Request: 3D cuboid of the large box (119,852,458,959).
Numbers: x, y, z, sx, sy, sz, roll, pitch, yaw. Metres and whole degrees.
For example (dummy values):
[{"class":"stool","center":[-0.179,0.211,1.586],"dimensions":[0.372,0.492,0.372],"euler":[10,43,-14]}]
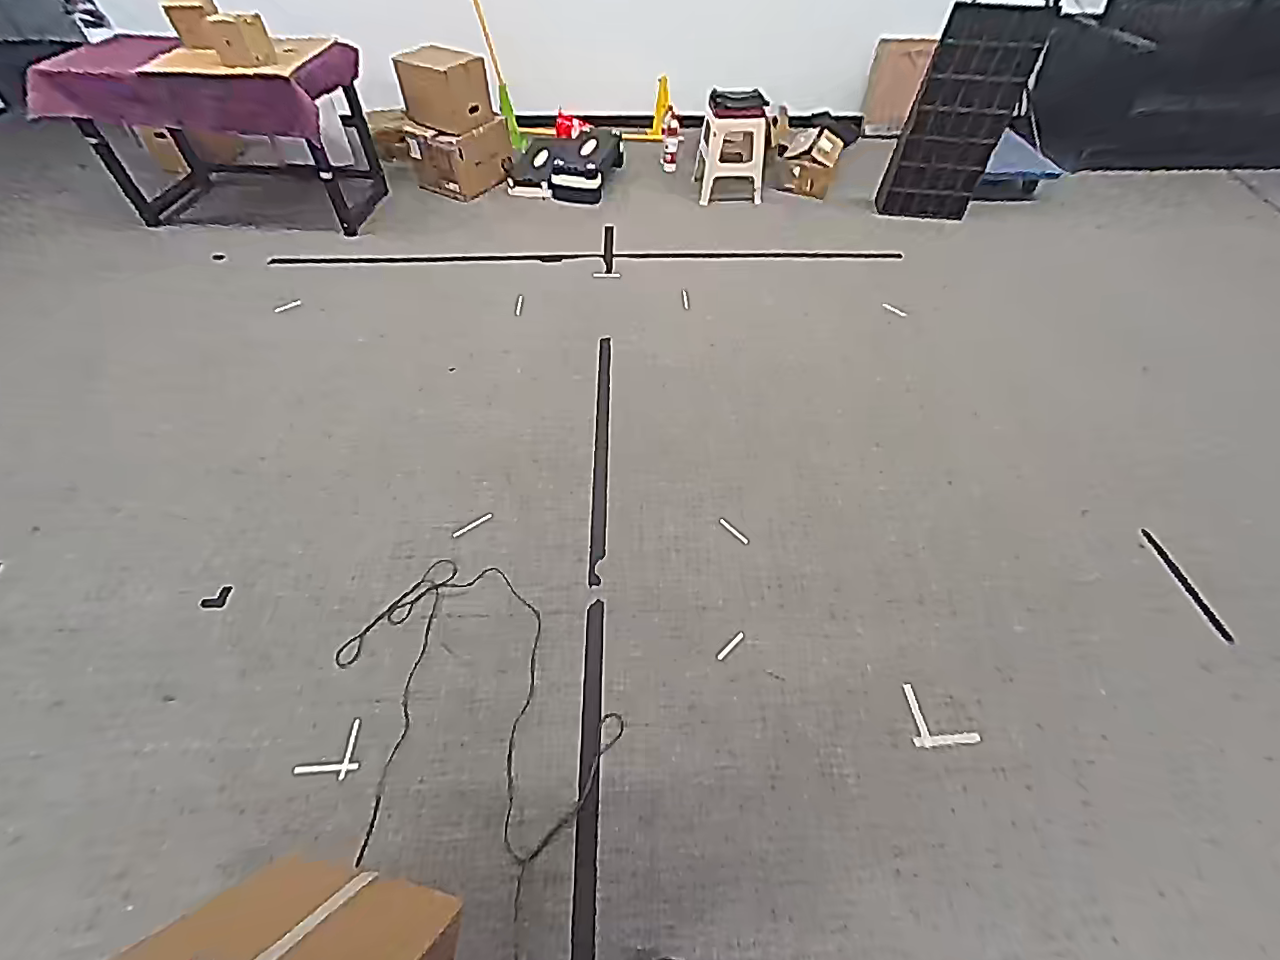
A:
[{"class":"large box","center":[-0.475,0.736,0.637],"dimensions":[0.320,0.408,0.320],"euler":[7,81,10]}]
